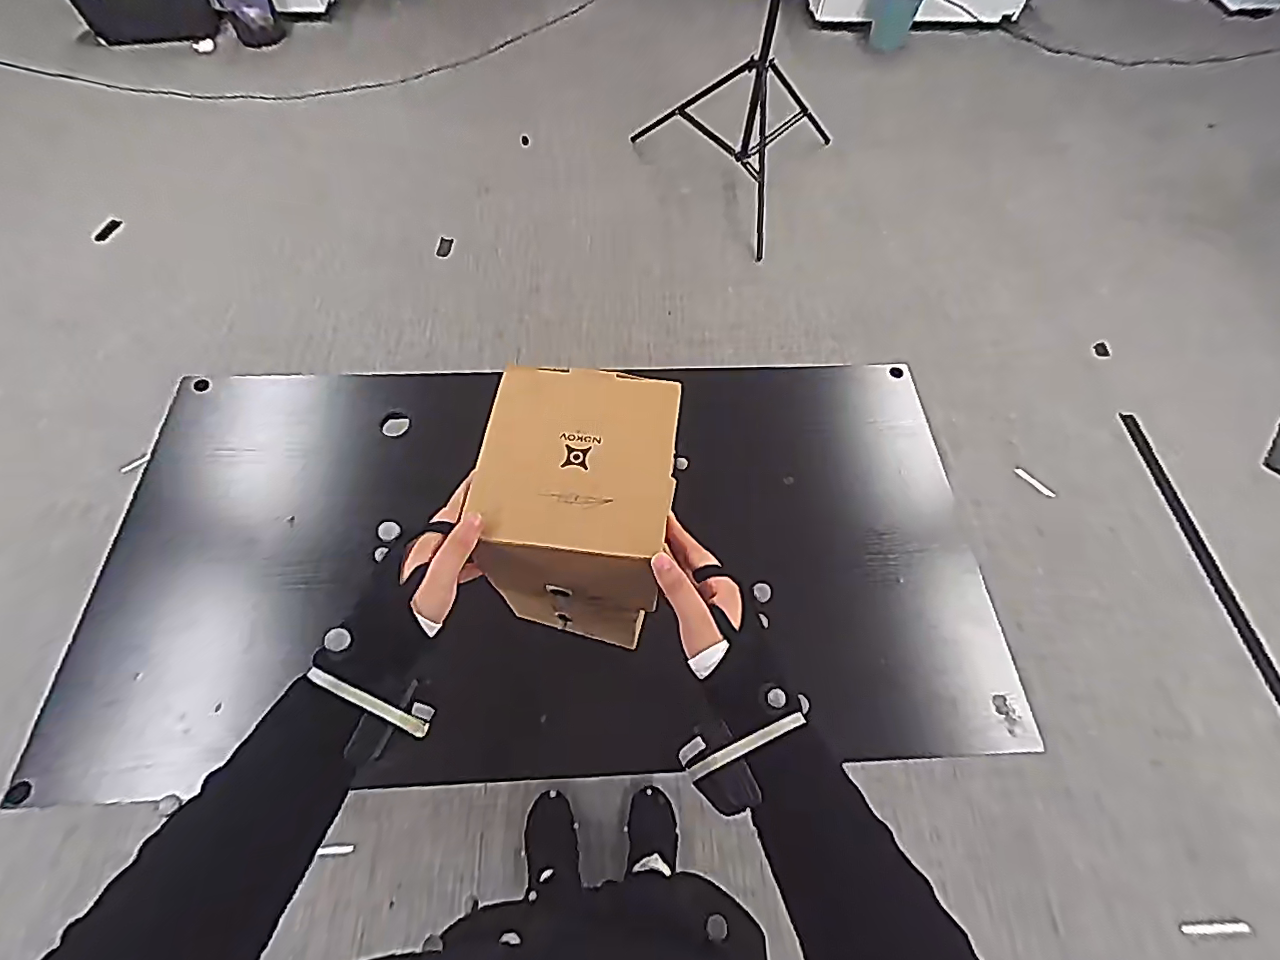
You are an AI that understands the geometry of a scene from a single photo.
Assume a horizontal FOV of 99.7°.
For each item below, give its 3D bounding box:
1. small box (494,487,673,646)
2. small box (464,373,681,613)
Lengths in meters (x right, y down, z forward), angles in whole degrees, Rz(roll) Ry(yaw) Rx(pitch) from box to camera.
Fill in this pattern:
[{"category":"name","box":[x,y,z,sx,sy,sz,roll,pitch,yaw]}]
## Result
[{"category":"small box","box":[-0.061,0.095,0.686,0.168,0.176,0.179,14,62,5]},{"category":"small box","box":[-0.054,0.020,0.541,0.168,0.176,0.179,6,63,2]}]
